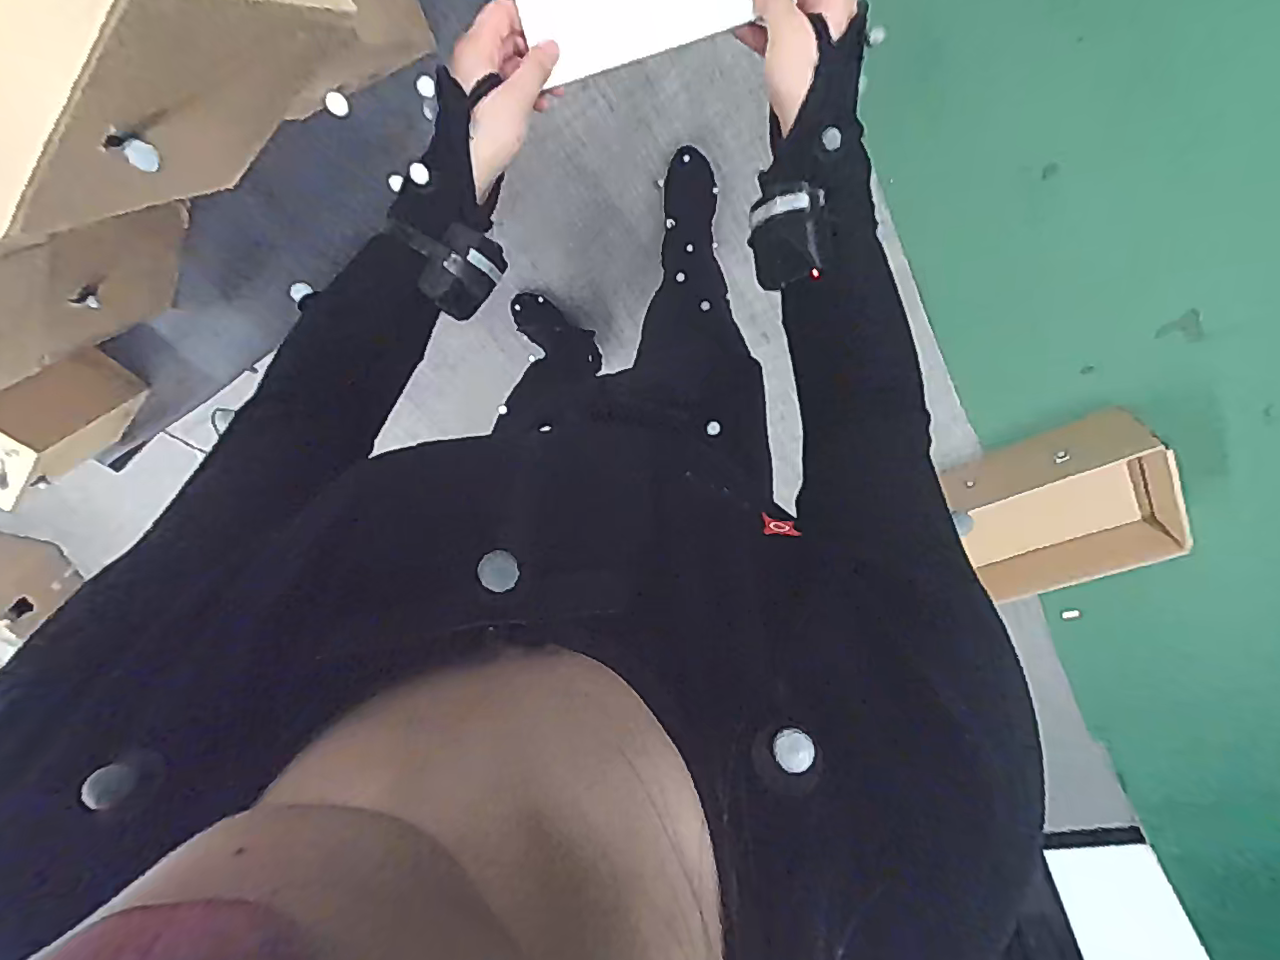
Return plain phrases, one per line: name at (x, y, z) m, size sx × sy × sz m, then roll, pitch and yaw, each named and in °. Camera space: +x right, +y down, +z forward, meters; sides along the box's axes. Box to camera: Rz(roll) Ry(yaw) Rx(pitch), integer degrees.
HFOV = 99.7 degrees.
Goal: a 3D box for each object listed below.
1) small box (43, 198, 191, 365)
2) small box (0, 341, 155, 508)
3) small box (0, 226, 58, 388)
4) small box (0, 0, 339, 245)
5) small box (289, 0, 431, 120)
small box at (-0.607, -0.259, 0.550) m, size 0.168 × 0.176 × 0.179 m, roll 35°, pitch 126°, yaw -19°
small box at (-0.813, -0.101, 0.710) m, size 0.168 × 0.176 × 0.179 m, roll -30°, pitch 119°, yaw 29°
small box at (-0.627, -0.153, 0.425) m, size 0.168 × 0.176 × 0.179 m, roll 37°, pitch 125°, yaw -20°
small box at (-0.297, -0.264, 0.279) m, size 0.179 × 0.176 × 0.168 m, roll -25°, pitch 120°, yaw 28°
small box at (-0.292, -0.381, 0.395) m, size 0.168 × 0.176 × 0.179 m, roll -10°, pitch 126°, yaw 18°
